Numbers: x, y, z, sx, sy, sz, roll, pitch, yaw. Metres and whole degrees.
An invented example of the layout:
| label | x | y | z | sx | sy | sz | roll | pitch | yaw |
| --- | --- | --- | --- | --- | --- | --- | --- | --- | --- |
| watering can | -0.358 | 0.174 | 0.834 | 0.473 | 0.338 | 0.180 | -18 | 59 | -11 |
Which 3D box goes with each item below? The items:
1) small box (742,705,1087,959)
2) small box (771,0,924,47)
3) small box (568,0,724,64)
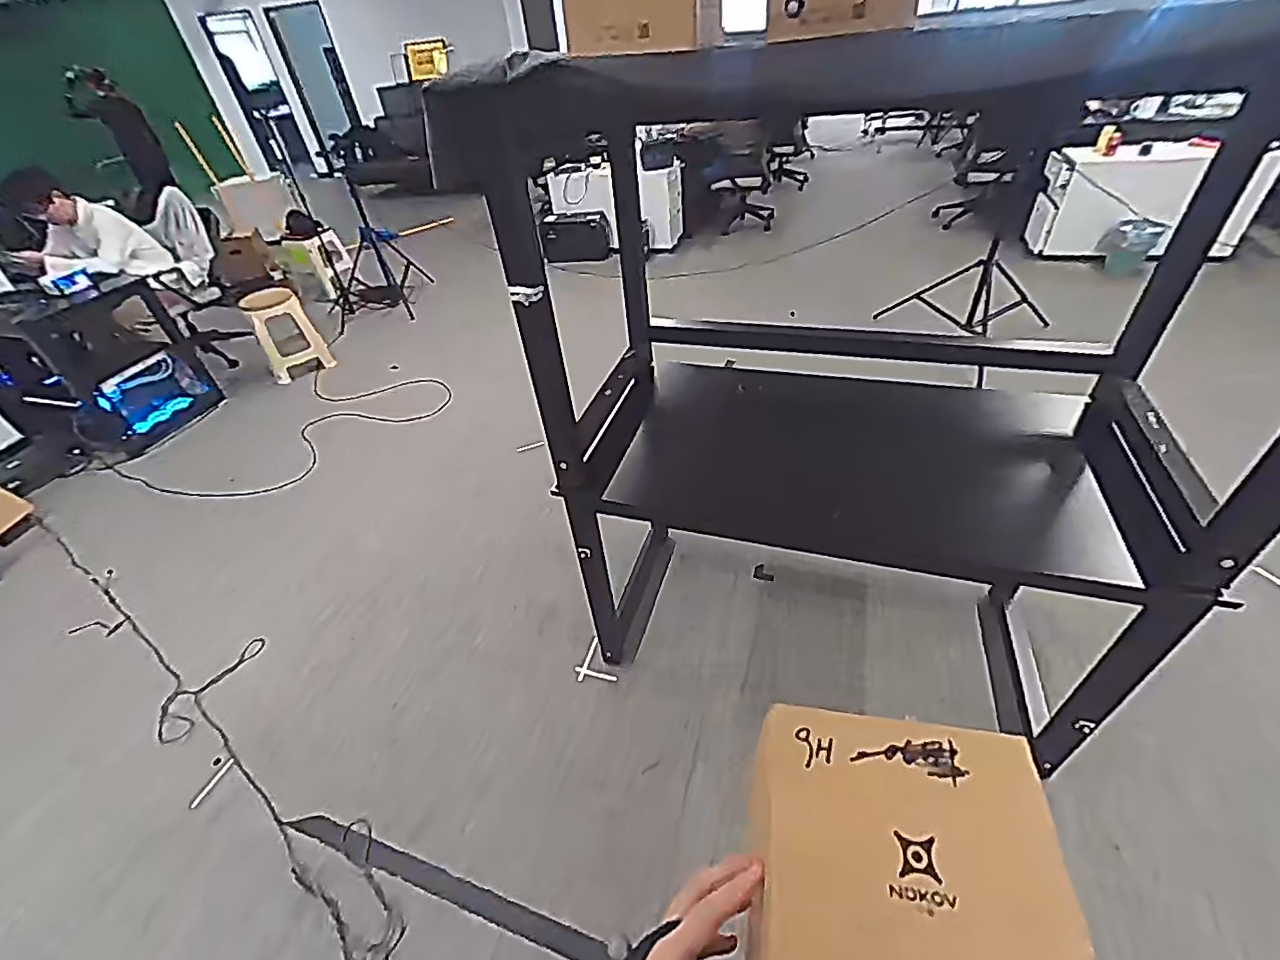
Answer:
| label | x | y | z | sx | sy | sz | roll | pitch | yaw |
| --- | --- | --- | --- | --- | --- | --- | --- | --- | --- |
| small box | 0.161 | 0.280 | 0.368 | 0.168 | 0.176 | 0.179 | 5 | 49 | 8 |
| small box | 0.248 | -0.614 | 0.621 | 0.168 | 0.176 | 0.179 | 10 | 40 | 18 |
| small box | 0.011 | -0.633 | 0.675 | 0.168 | 0.176 | 0.179 | 9 | 40 | 16 |
